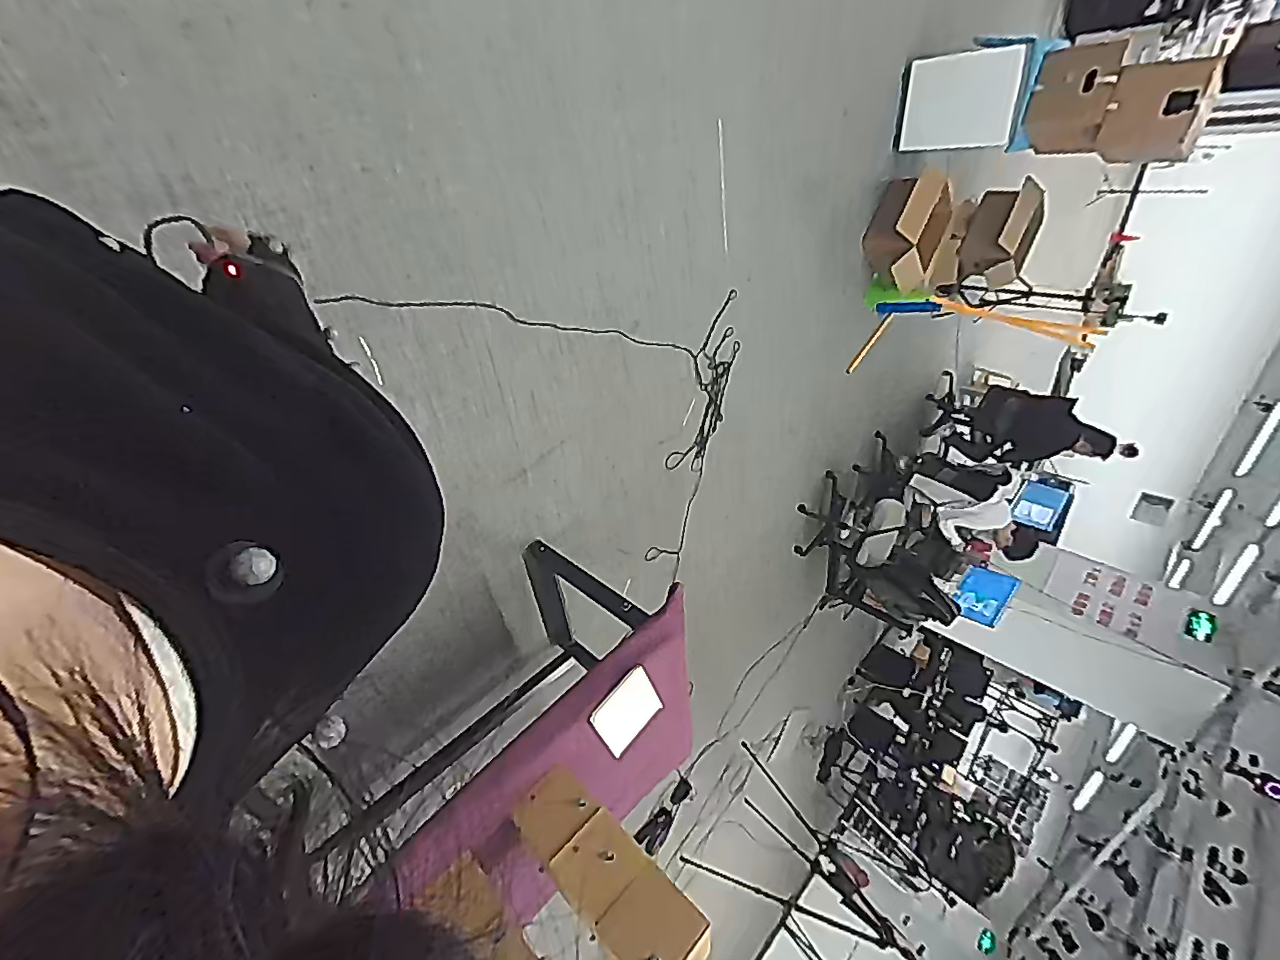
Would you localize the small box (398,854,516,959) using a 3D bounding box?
[{"bbox_3d":[-0.404,0.979,1.196,0.168,0.176,0.179,-32,133,-34],"label":"small box"}]

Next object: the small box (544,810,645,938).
[{"bbox_3d":[-0.100,0.904,1.241,0.168,0.176,0.179,-33,133,-34],"label":"small box"}]

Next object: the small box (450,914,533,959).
[{"bbox_3d":[-0.292,1.034,1.090,0.168,0.176,0.179,-33,134,-32],"label":"small box"}]

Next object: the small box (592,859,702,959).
[{"bbox_3d":[0.012,0.959,1.132,0.179,0.176,0.168,-31,132,-36],"label":"small box"}]
